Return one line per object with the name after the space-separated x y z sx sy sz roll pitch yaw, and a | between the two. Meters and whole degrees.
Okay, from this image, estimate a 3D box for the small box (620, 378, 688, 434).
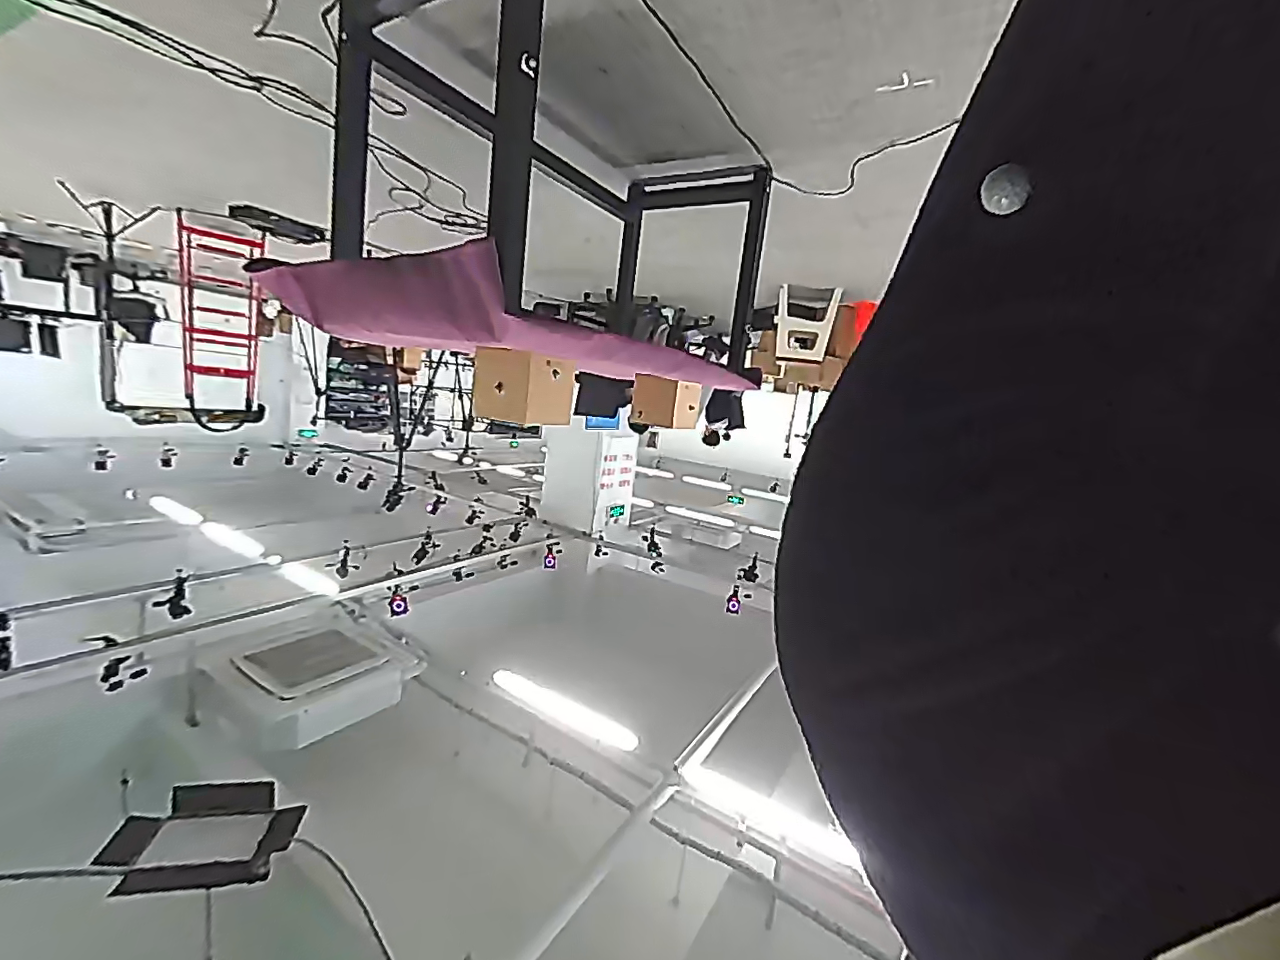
0.052 -0.252 1.831 0.179 0.176 0.168 13 -170 31 | small box
